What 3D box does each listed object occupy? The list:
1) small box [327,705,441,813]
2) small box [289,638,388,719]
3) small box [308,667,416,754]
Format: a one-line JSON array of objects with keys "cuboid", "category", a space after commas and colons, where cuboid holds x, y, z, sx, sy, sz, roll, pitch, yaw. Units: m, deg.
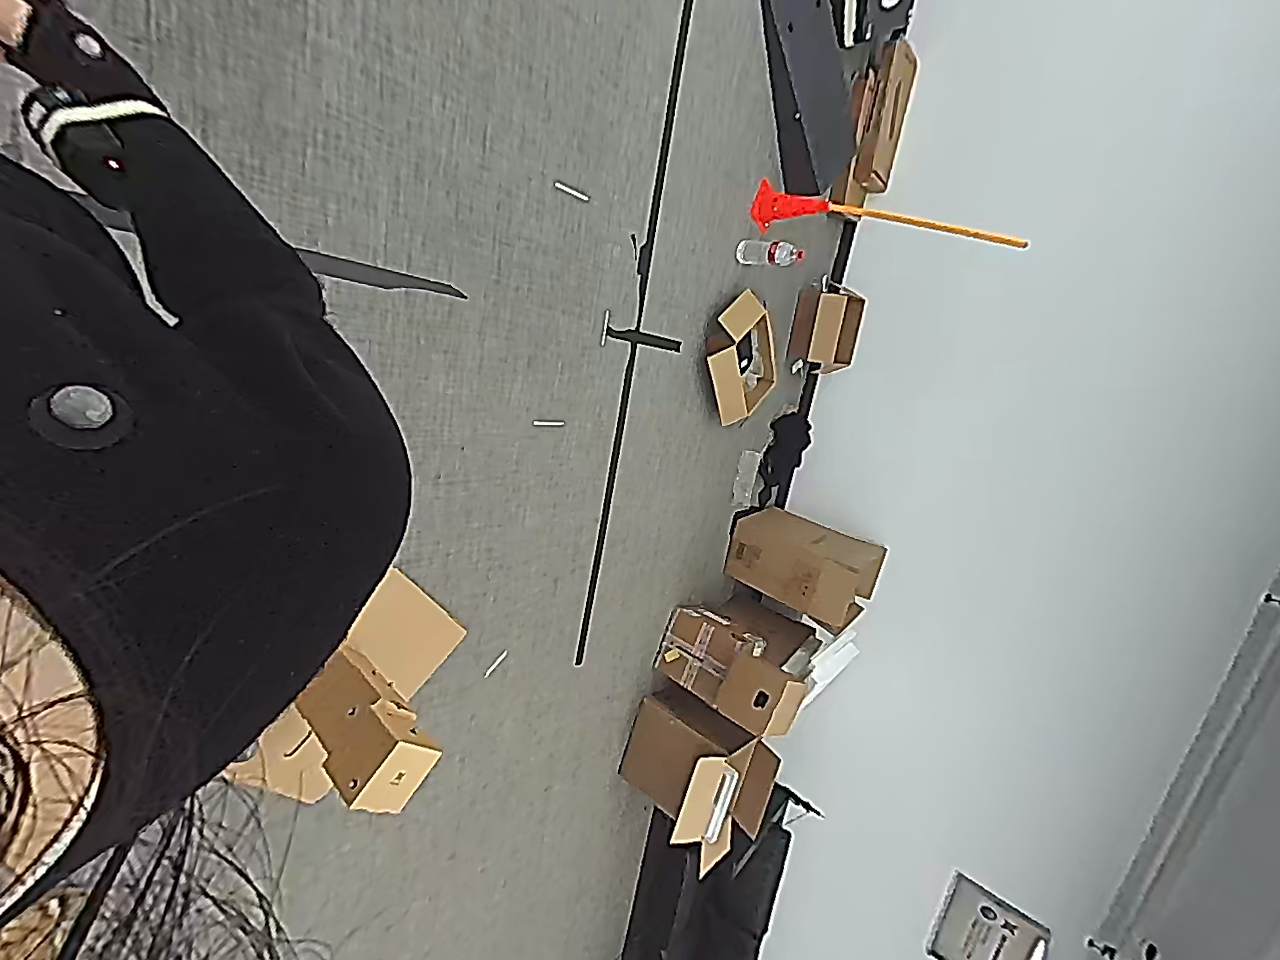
[{"cuboid": [-0.658, 0.711, 1.386, 0.179, 0.176, 0.168, -54, 141, -16], "category": "small box"}, {"cuboid": [-0.891, 0.601, 1.589, 0.179, 0.176, 0.168, -50, 140, -21], "category": "small box"}, {"cuboid": [-0.767, 0.651, 1.492, 0.179, 0.176, 0.168, -49, 140, -22], "category": "small box"}]
